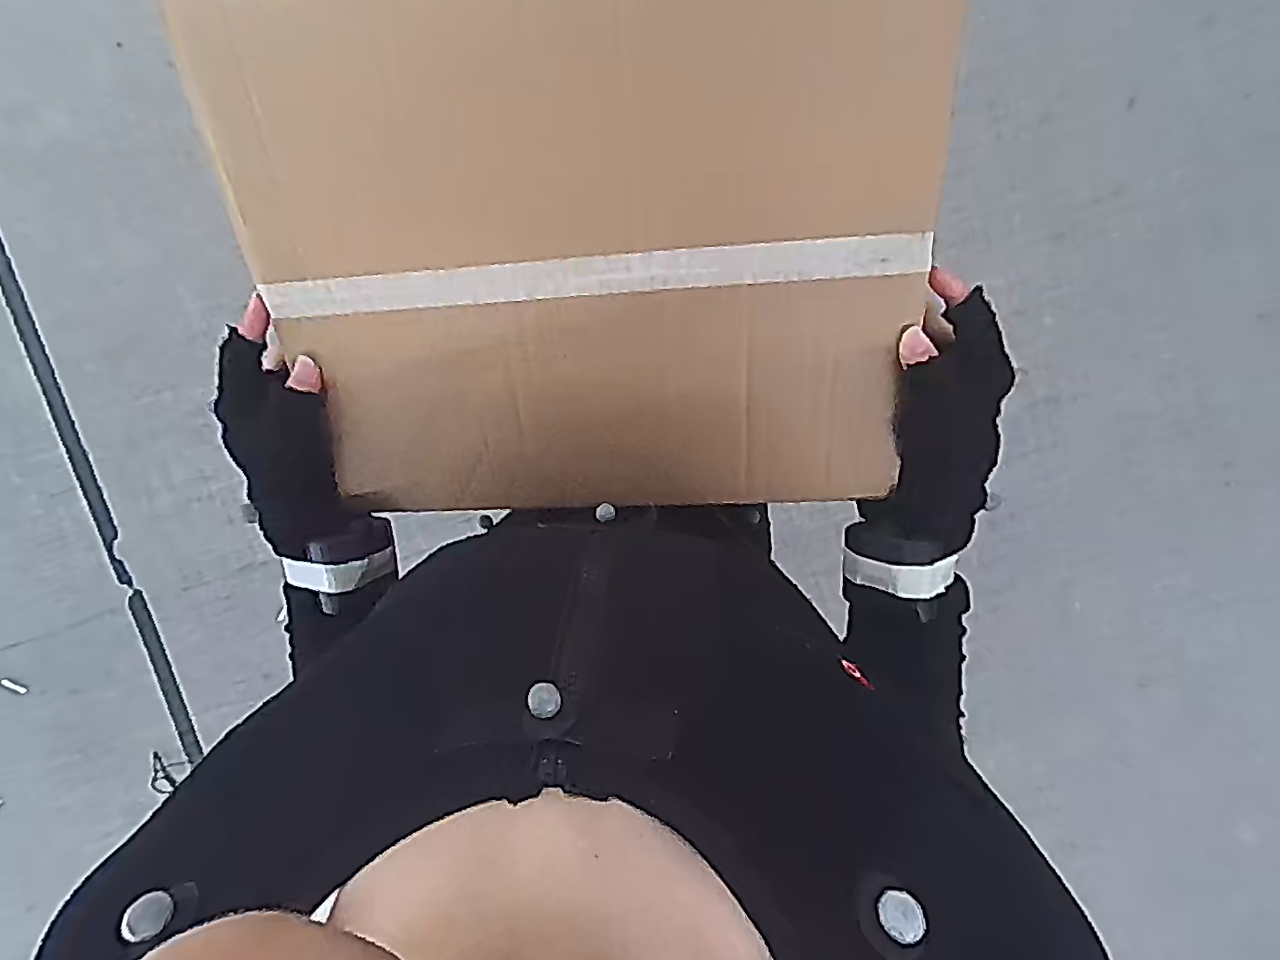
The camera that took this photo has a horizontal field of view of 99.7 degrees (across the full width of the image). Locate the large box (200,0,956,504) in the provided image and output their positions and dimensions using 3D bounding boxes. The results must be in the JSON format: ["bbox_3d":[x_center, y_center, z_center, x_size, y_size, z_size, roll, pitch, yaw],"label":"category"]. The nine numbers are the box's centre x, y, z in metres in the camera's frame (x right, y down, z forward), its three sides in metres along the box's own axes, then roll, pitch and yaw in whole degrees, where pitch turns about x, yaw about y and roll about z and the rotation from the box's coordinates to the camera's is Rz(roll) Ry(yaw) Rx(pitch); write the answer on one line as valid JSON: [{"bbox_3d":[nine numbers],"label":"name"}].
[{"bbox_3d":[-0.024,-0.190,0.468,0.408,0.320,0.320,-2,117,6],"label":"large box"}]
